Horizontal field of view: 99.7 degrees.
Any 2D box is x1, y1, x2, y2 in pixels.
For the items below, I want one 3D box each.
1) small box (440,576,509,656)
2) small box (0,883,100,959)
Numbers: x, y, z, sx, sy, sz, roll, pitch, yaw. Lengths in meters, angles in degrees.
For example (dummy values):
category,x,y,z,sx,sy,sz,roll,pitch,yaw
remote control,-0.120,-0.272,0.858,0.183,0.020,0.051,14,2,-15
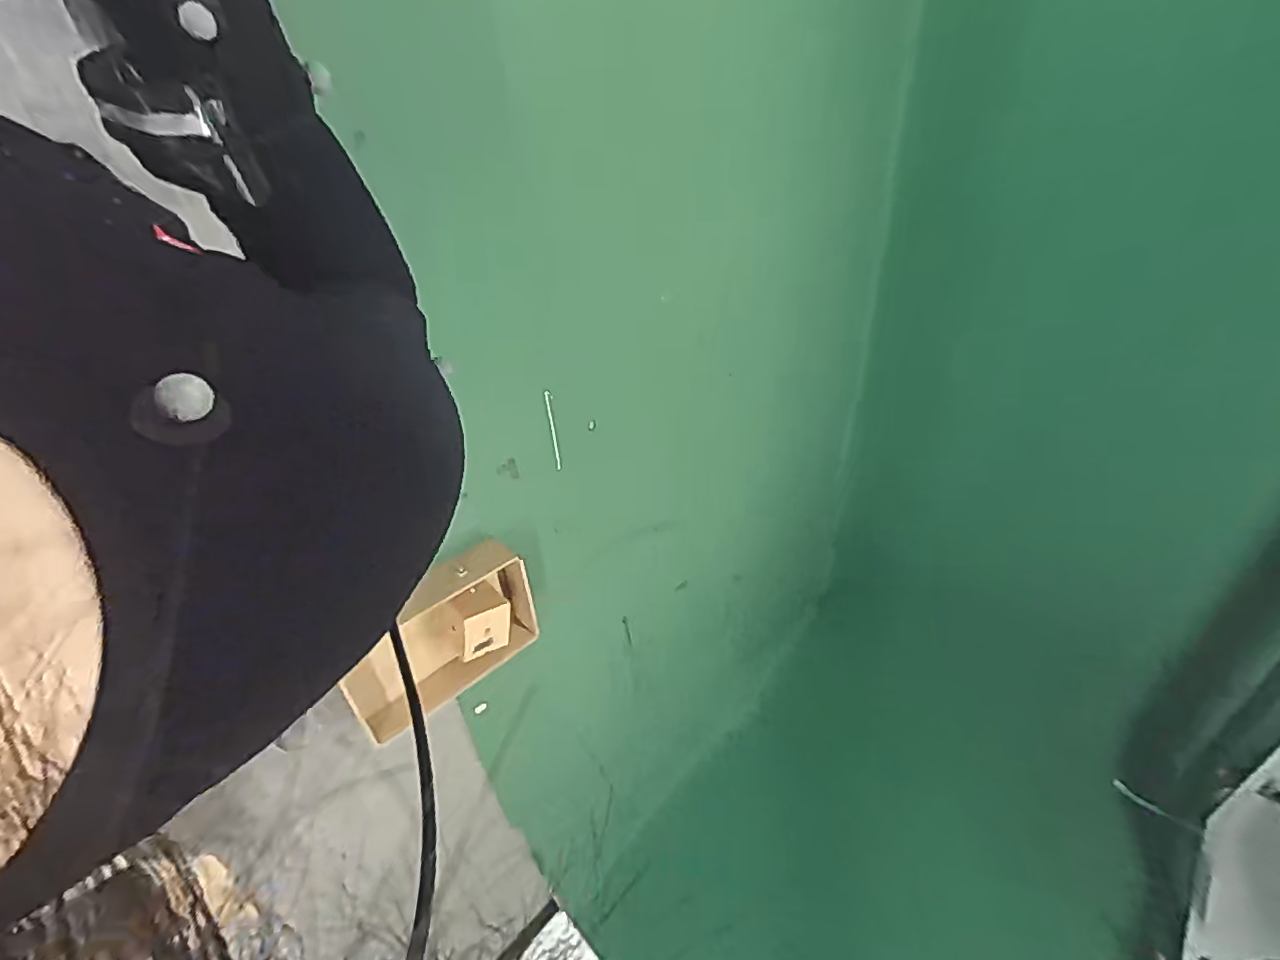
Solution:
category,x,y,z,sx,sy,sz,roll,pitch,yaw
small box,-0.564,0.454,1.829,0.168,0.176,0.179,-14,122,-43
small box,-1.265,0.992,1.122,0.168,0.176,0.179,-19,124,-37
